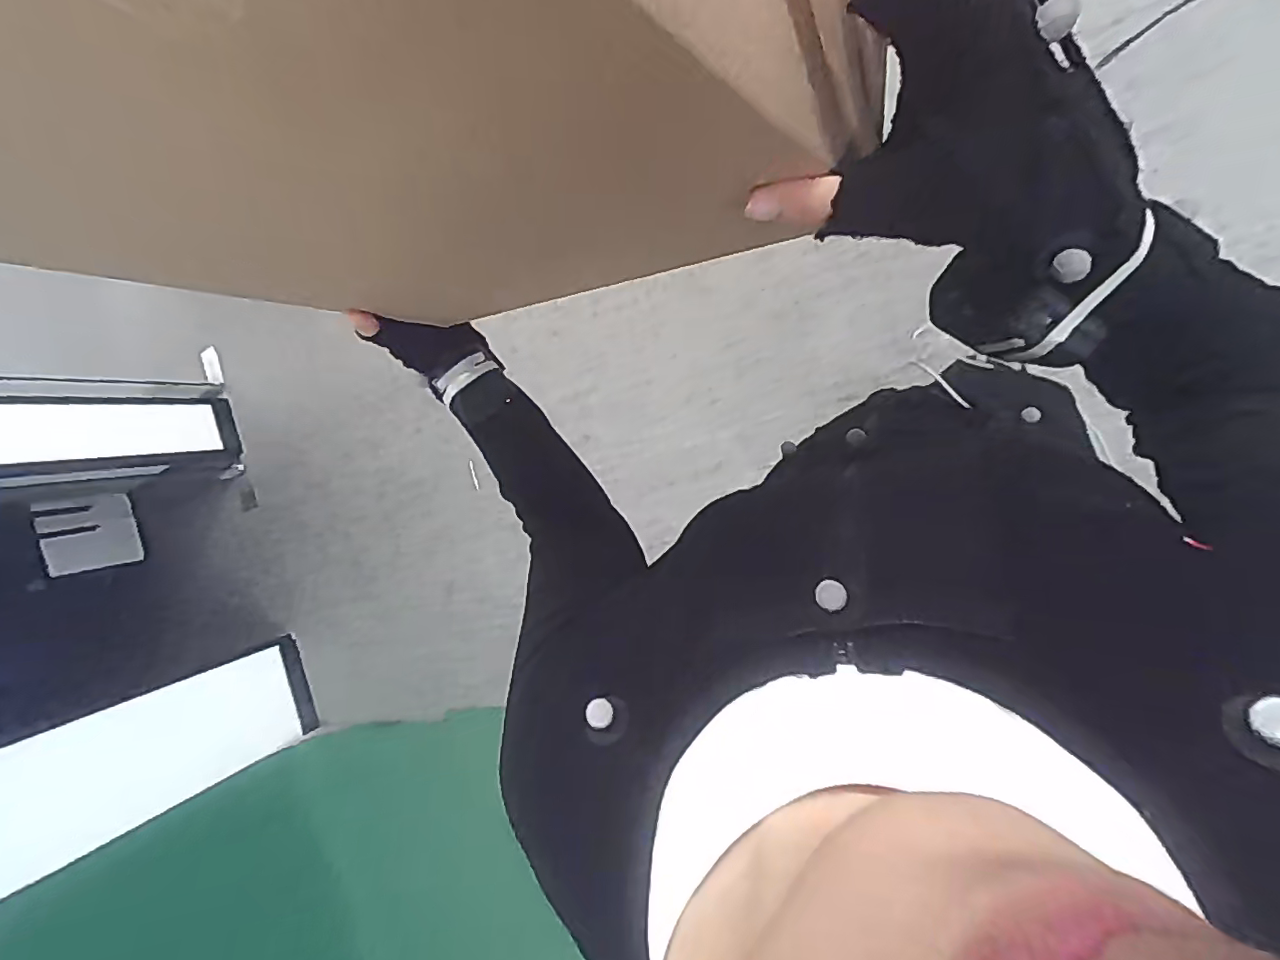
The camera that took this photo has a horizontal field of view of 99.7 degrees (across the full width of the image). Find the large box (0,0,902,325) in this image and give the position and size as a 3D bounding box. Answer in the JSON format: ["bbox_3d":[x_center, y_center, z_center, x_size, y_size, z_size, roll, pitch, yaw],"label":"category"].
[{"bbox_3d":[-0.126,-0.281,0.261,0.408,0.320,0.320,4,96,41],"label":"large box"}]
